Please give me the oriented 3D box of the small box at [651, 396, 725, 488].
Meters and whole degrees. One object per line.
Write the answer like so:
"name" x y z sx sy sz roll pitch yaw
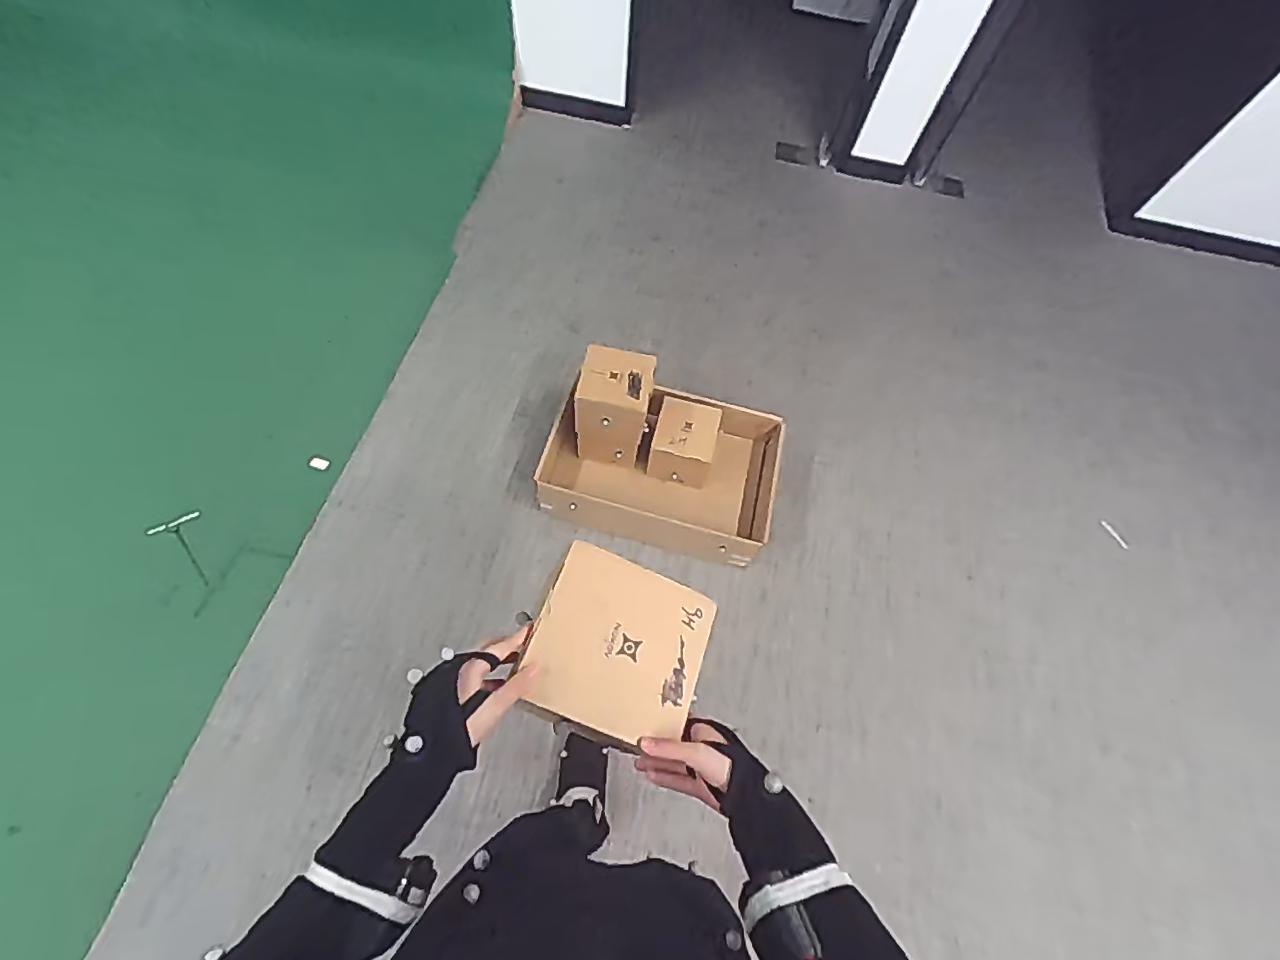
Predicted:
"small box" 0.130 -0.103 1.521 0.168 0.176 0.179 14 65 4

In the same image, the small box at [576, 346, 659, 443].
"small box" -0.058 -0.211 1.377 0.179 0.176 0.168 11 65 1

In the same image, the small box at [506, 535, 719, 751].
"small box" -0.039 0.189 0.611 0.179 0.176 0.168 24 63 -6
